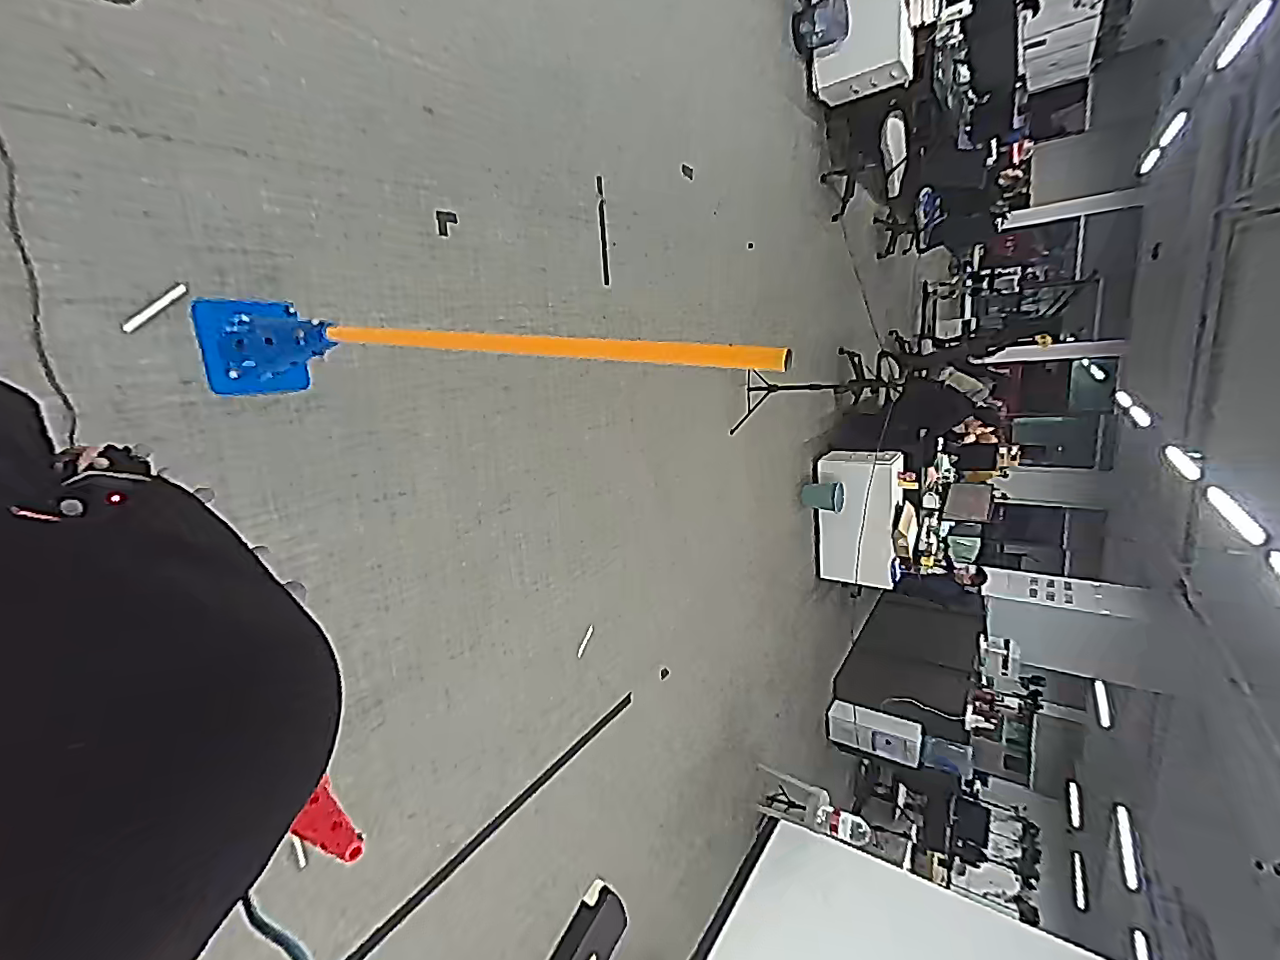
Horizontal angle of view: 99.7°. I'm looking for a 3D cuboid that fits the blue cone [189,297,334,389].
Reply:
[{"bbox_3d":[-0.720,-0.290,1.087,0.193,0.380,0.192,-17,107,-53],"label":"blue cone"}]
